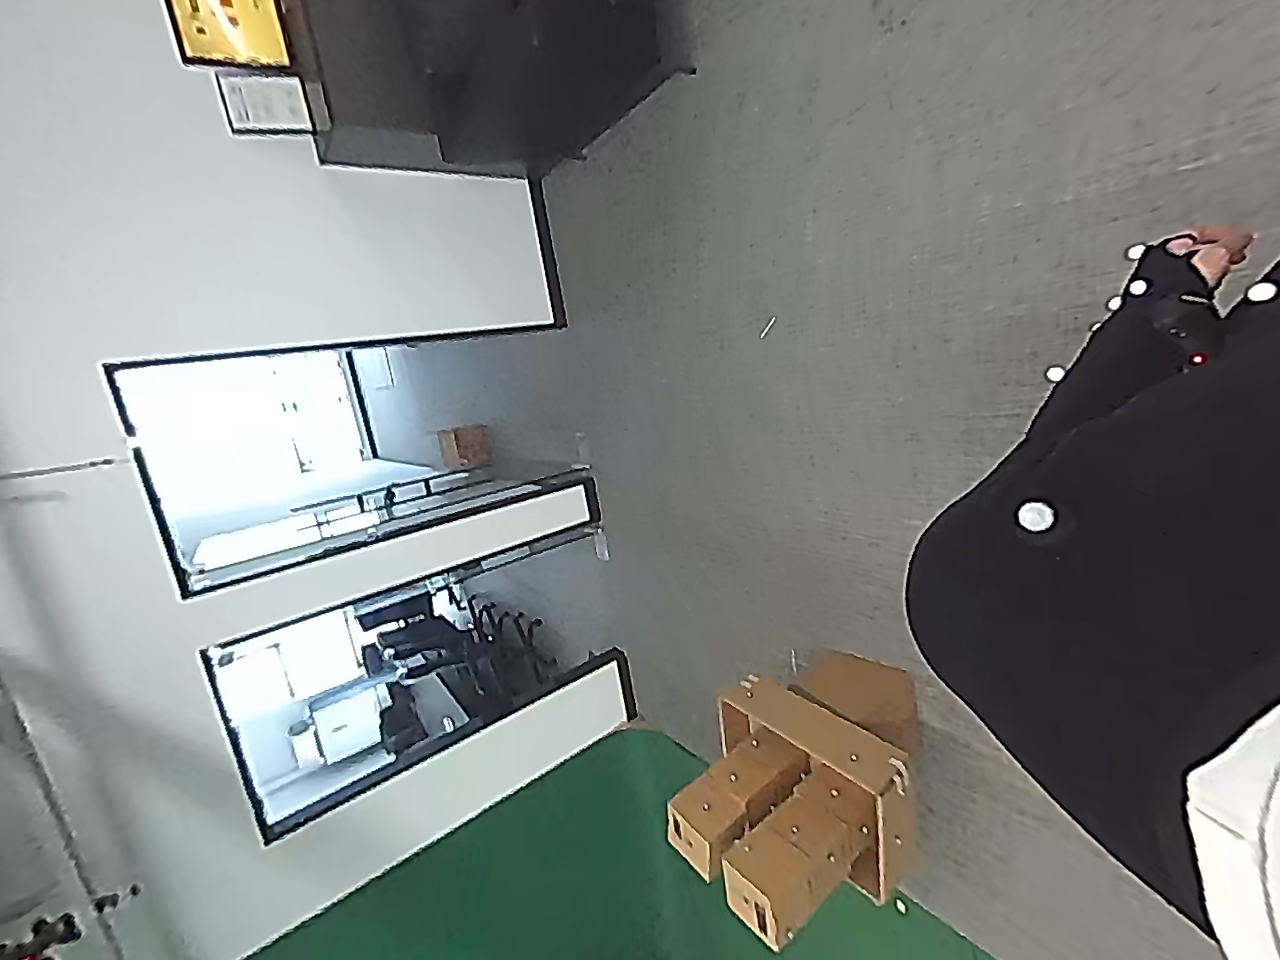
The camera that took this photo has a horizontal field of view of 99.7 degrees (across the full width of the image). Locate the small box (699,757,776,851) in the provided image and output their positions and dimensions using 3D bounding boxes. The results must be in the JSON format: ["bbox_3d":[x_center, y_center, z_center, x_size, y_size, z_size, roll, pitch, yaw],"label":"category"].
[{"bbox_3d":[0.314,1.027,1.736,0.179,0.176,0.168,8,109,51],"label":"small box"}]

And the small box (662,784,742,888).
[{"bbox_3d":[0.185,1.067,1.644,0.179,0.176,0.168,21,119,46],"label":"small box"}]

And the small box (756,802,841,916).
[{"bbox_3d":[0.459,1.069,1.547,0.179,0.176,0.168,7,108,54],"label":"small box"}]

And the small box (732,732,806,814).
[{"bbox_3d":[0.439,0.990,1.832,0.179,0.176,0.168,9,111,52],"label":"small box"}]
